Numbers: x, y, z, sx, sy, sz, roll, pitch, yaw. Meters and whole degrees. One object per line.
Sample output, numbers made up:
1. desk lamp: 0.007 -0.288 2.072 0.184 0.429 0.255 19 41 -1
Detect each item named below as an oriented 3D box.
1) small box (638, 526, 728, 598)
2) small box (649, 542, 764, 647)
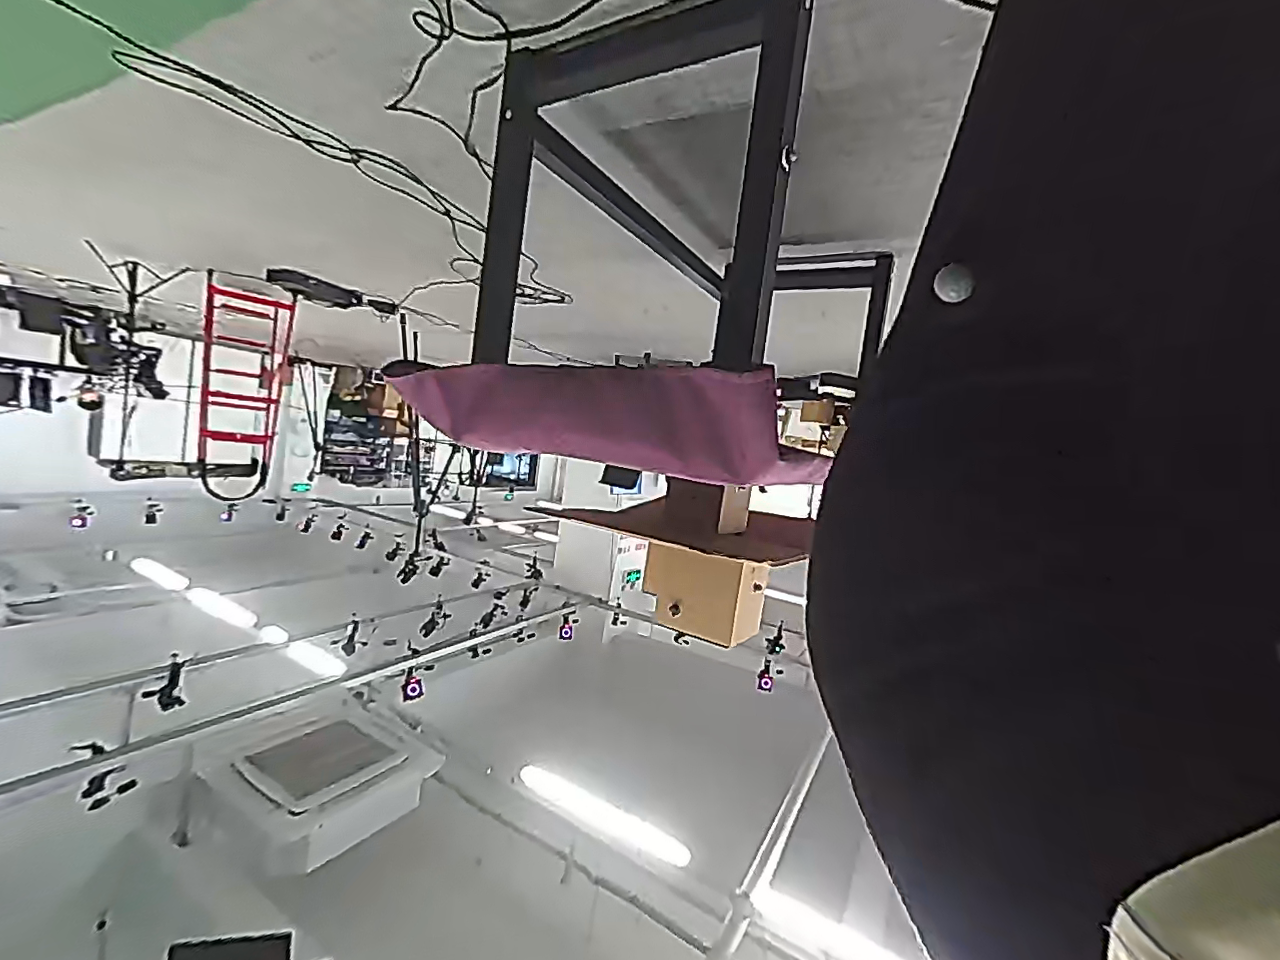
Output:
1. small box: 0.118 0.219 1.393 0.179 0.176 0.168 10 -179 32
2. small box: 0.142 0.227 1.128 0.179 0.176 0.168 9 -179 31
